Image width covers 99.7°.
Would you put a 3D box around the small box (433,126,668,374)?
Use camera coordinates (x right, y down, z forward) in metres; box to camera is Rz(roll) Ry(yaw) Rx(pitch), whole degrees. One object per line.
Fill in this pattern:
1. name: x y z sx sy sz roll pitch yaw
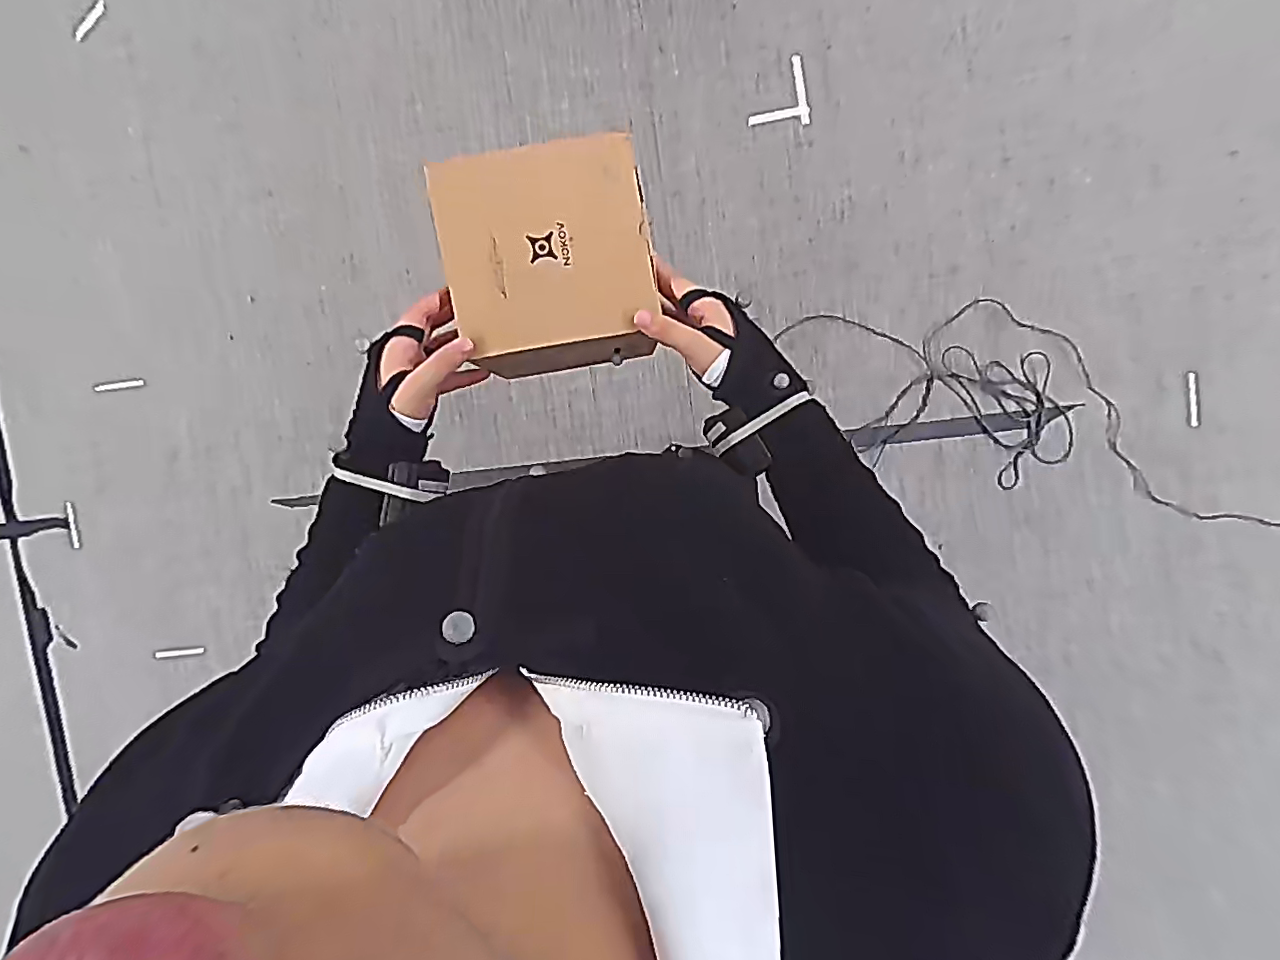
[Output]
1. small box: -0.078 -0.209 0.537 0.179 0.176 0.168 -11 94 0
